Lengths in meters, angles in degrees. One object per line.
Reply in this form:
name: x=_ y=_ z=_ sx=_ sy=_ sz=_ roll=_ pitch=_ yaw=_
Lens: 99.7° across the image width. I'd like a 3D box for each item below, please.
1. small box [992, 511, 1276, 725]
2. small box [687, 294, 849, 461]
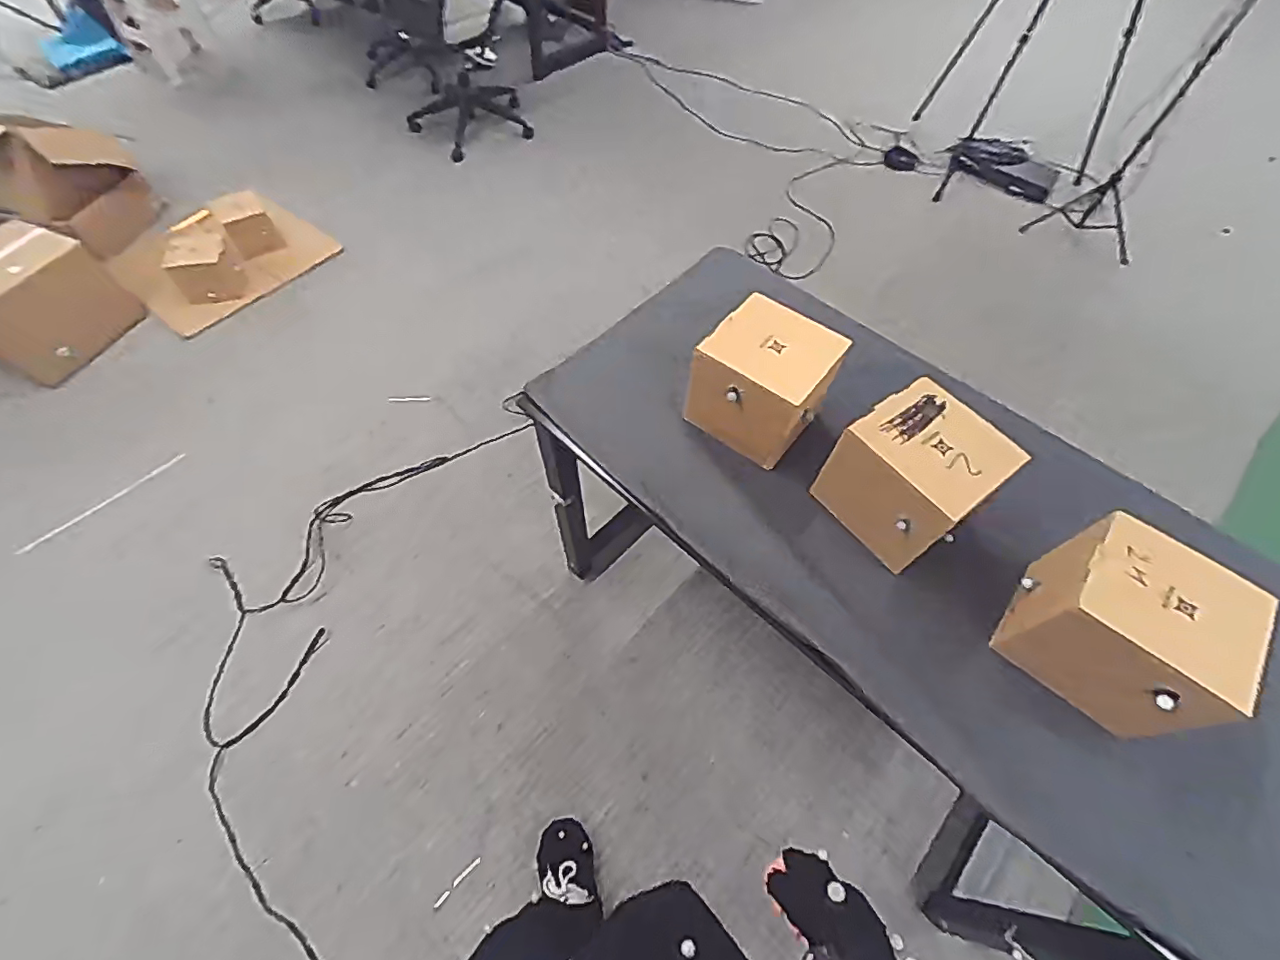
small box: x=0.589 y=0.177 z=0.666 sx=0.179 sy=0.176 sz=0.168 roll=37 pitch=63 yaw=20
small box: x=0.194 y=-0.155 z=0.865 sx=0.179 sy=0.176 sz=0.168 roll=34 pitch=63 yaw=18
